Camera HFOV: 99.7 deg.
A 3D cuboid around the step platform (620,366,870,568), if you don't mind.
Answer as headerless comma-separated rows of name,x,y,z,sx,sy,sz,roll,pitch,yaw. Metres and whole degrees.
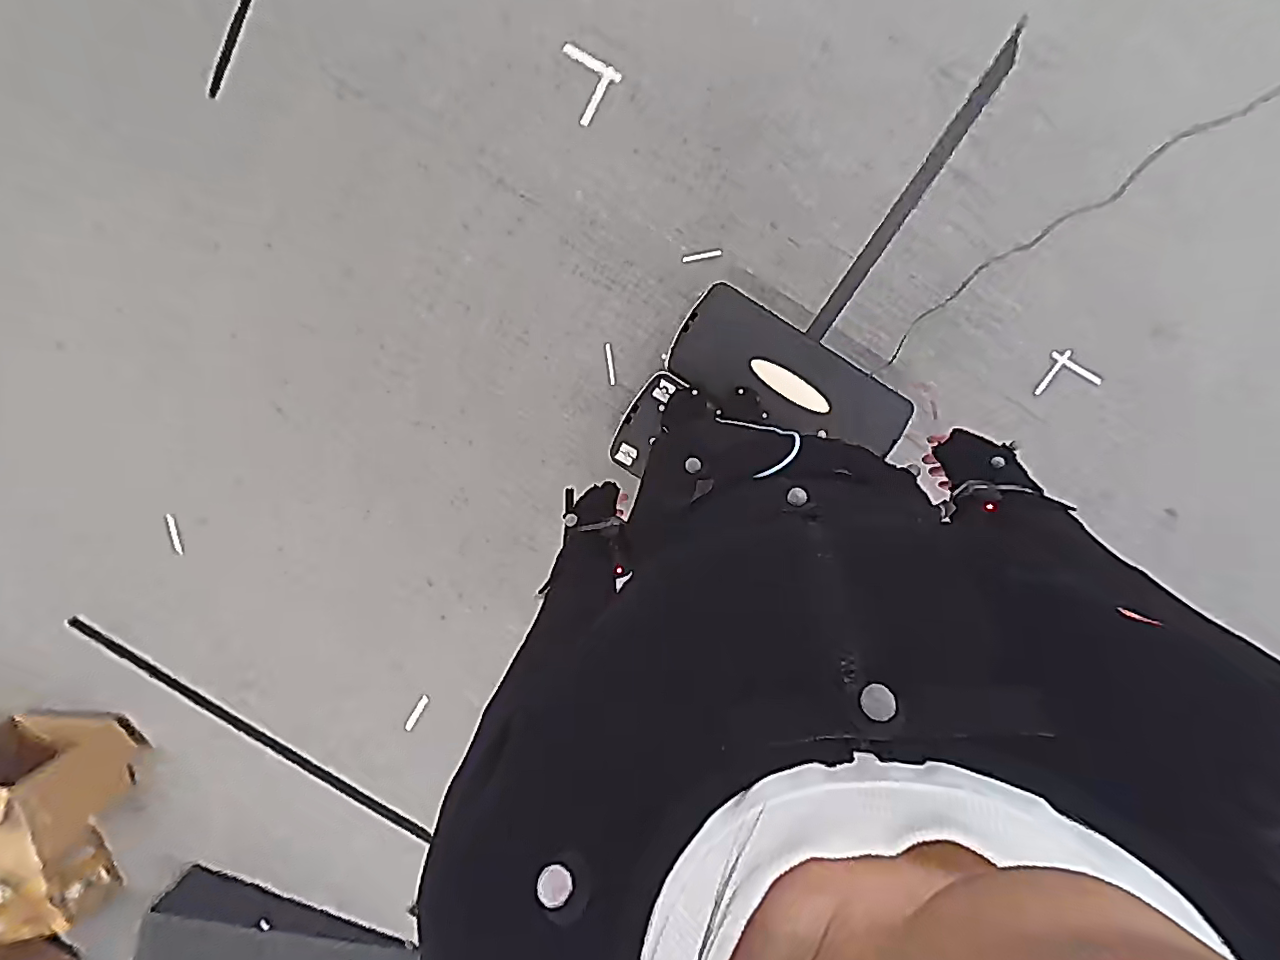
step platform,0.284,-0.037,1.524,0.684,0.204,0.286,31,100,0
